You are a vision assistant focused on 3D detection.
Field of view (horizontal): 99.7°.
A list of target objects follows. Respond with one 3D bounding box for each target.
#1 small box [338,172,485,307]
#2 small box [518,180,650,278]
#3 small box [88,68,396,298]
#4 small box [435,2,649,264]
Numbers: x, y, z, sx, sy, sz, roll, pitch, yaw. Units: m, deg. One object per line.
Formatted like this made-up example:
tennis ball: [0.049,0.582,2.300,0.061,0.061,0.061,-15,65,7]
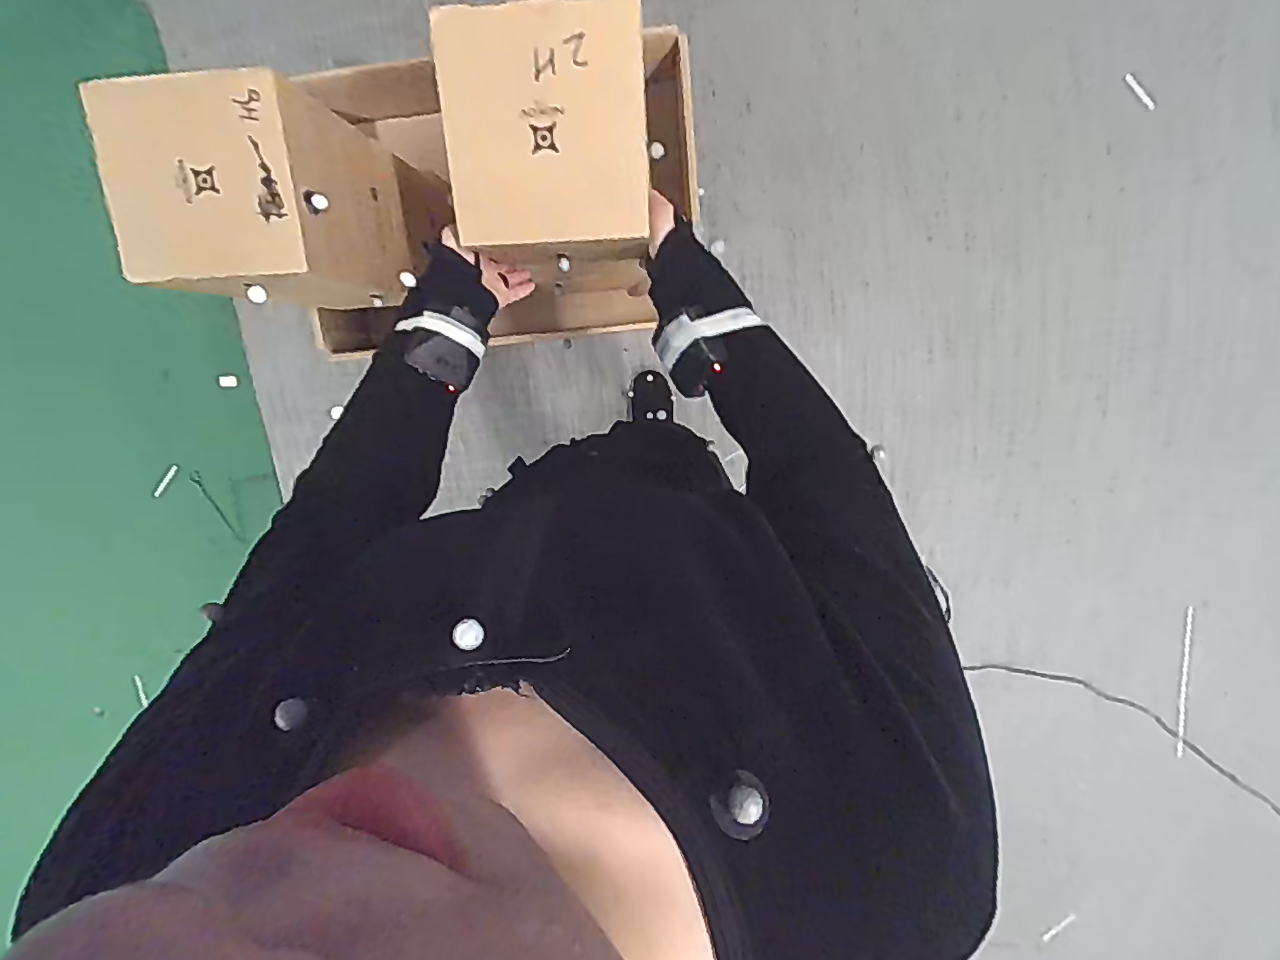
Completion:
small box: [-0.369,-0.374,0.869,0.179,0.176,0.168,-3,103,3]
small box: [-0.079,-0.356,0.686,0.179,0.176,0.168,-1,102,3]
small box: [-0.383,-0.283,0.555,0.179,0.176,0.168,-1,103,4]
small box: [-0.075,-0.305,0.518,0.168,0.176,0.179,-2,106,0]
